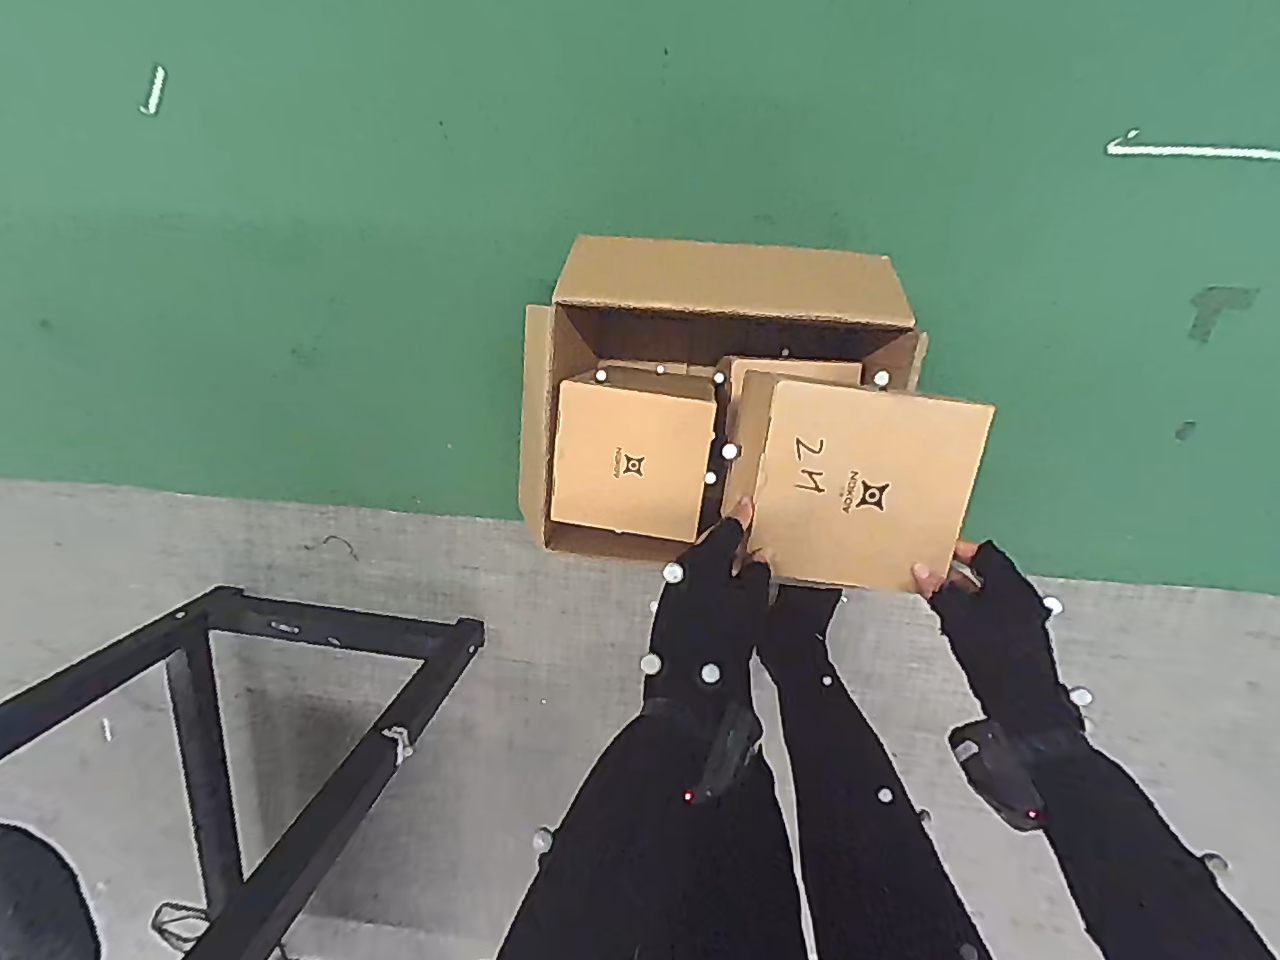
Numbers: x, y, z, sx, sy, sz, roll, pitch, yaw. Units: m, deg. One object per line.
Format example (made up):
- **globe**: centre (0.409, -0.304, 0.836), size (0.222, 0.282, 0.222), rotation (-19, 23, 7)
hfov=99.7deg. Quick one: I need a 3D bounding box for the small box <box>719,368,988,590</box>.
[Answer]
- **small box**: centre (0.180, -0.014, 0.519), size (0.179, 0.176, 0.168), rotation (7, 104, 1)
